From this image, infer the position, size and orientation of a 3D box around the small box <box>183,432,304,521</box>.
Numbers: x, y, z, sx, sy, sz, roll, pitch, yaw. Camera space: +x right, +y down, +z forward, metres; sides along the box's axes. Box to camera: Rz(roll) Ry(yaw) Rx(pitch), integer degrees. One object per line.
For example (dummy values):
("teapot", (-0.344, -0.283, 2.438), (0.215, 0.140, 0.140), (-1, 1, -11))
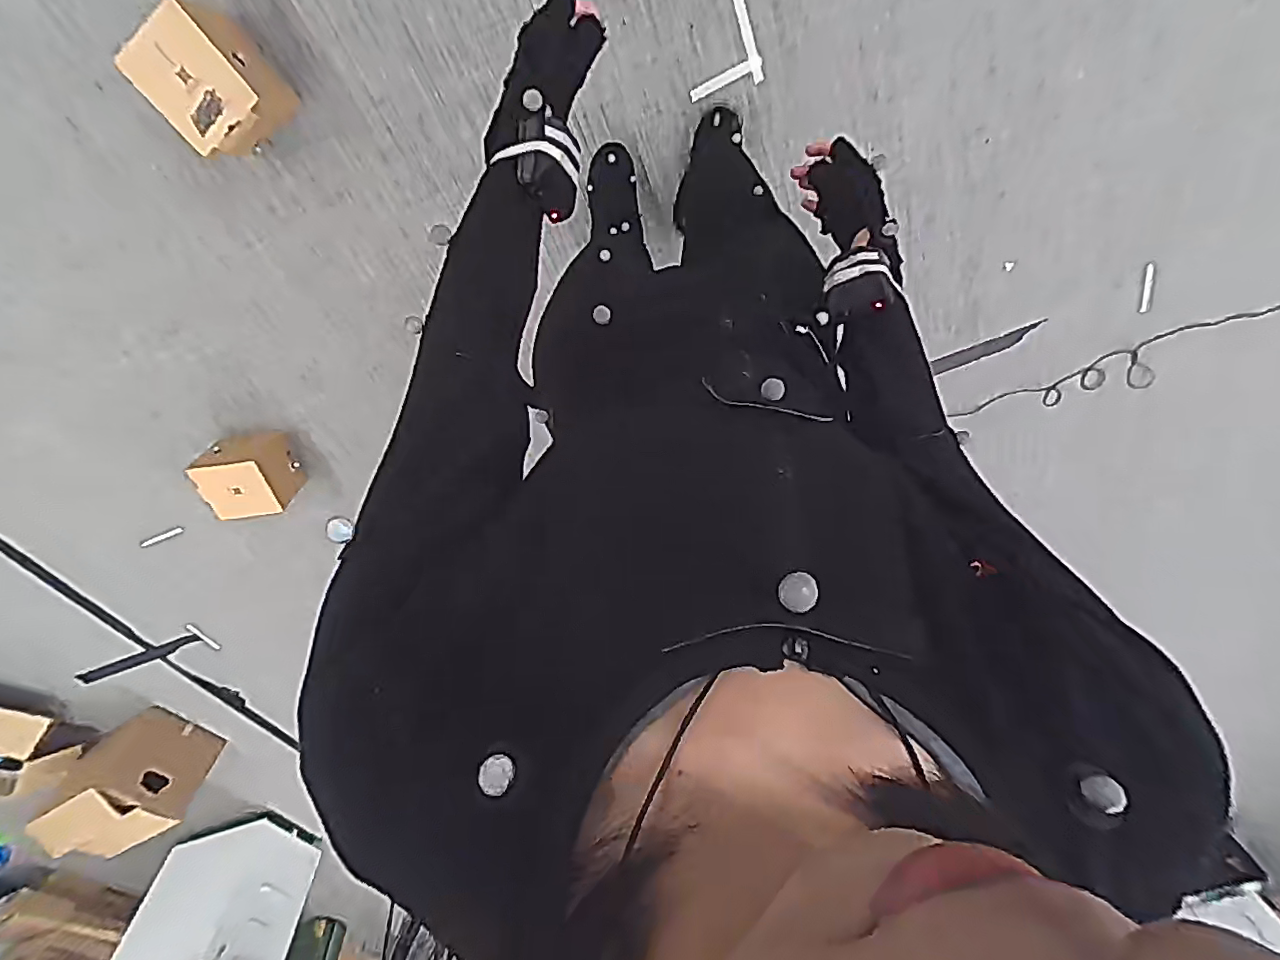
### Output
("small box", (-1.056, -0.012, 1.459), (0.179, 0.176, 0.168), (-8, 124, -2))

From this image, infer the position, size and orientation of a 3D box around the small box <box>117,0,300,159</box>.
("small box", (-0.795, -0.743, 1.020), (0.168, 0.176, 0.179), (-31, 120, 14))
